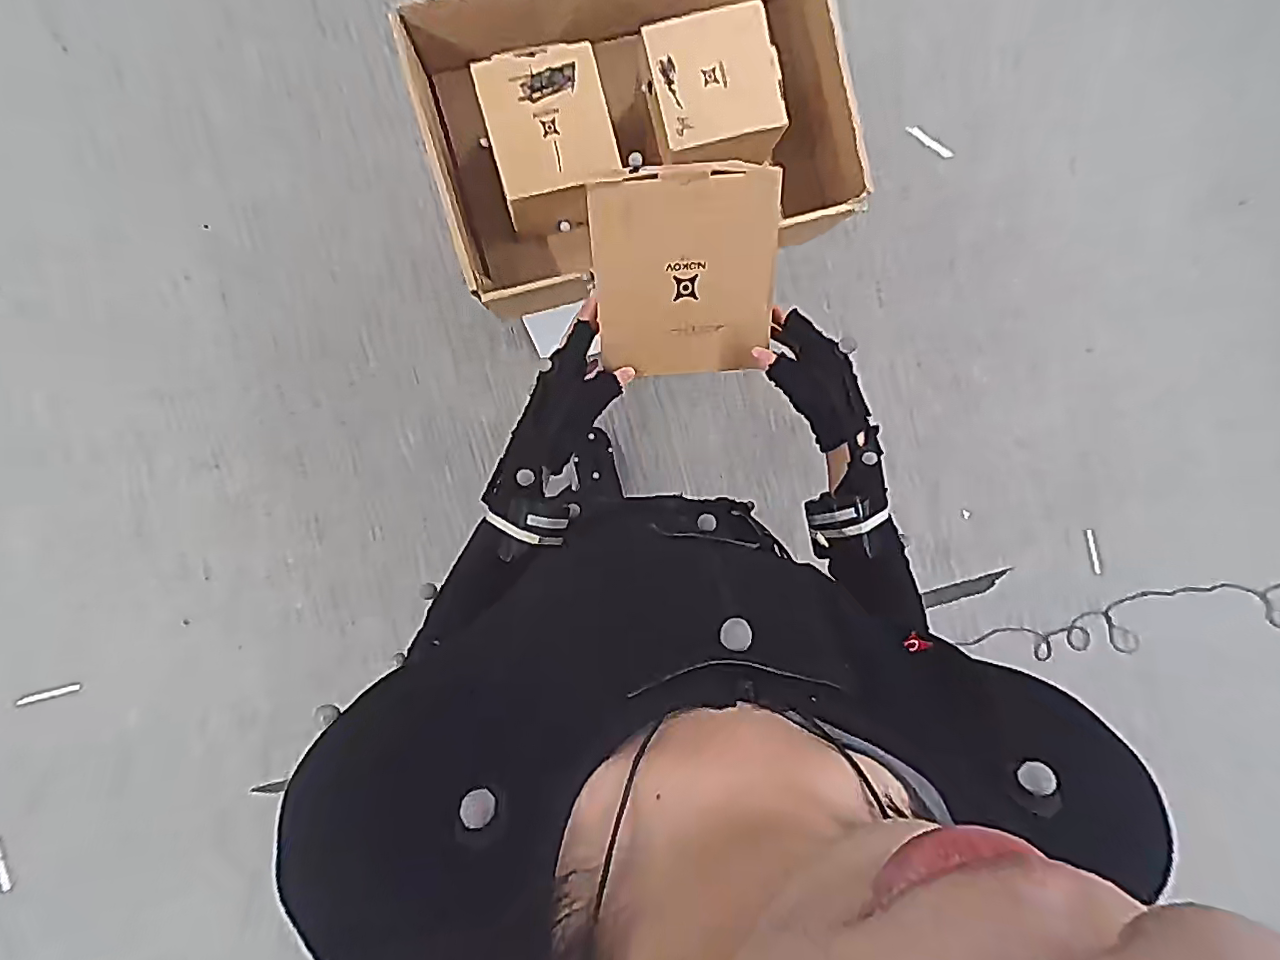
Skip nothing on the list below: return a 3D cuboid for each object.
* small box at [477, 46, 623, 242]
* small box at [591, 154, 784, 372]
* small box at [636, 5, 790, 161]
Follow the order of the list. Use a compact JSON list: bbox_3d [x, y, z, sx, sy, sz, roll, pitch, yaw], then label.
[{"bbox_3d":[-0.128,-0.484,0.803,0.168,0.176,0.179,-16,98,-5],"label":"small box"},{"bbox_3d":[0.039,-0.228,0.555,0.168,0.176,0.179,-5,123,0],"label":"small box"},{"bbox_3d":[0.102,-0.559,0.823,0.179,0.176,0.168,-15,96,-4],"label":"small box"}]
